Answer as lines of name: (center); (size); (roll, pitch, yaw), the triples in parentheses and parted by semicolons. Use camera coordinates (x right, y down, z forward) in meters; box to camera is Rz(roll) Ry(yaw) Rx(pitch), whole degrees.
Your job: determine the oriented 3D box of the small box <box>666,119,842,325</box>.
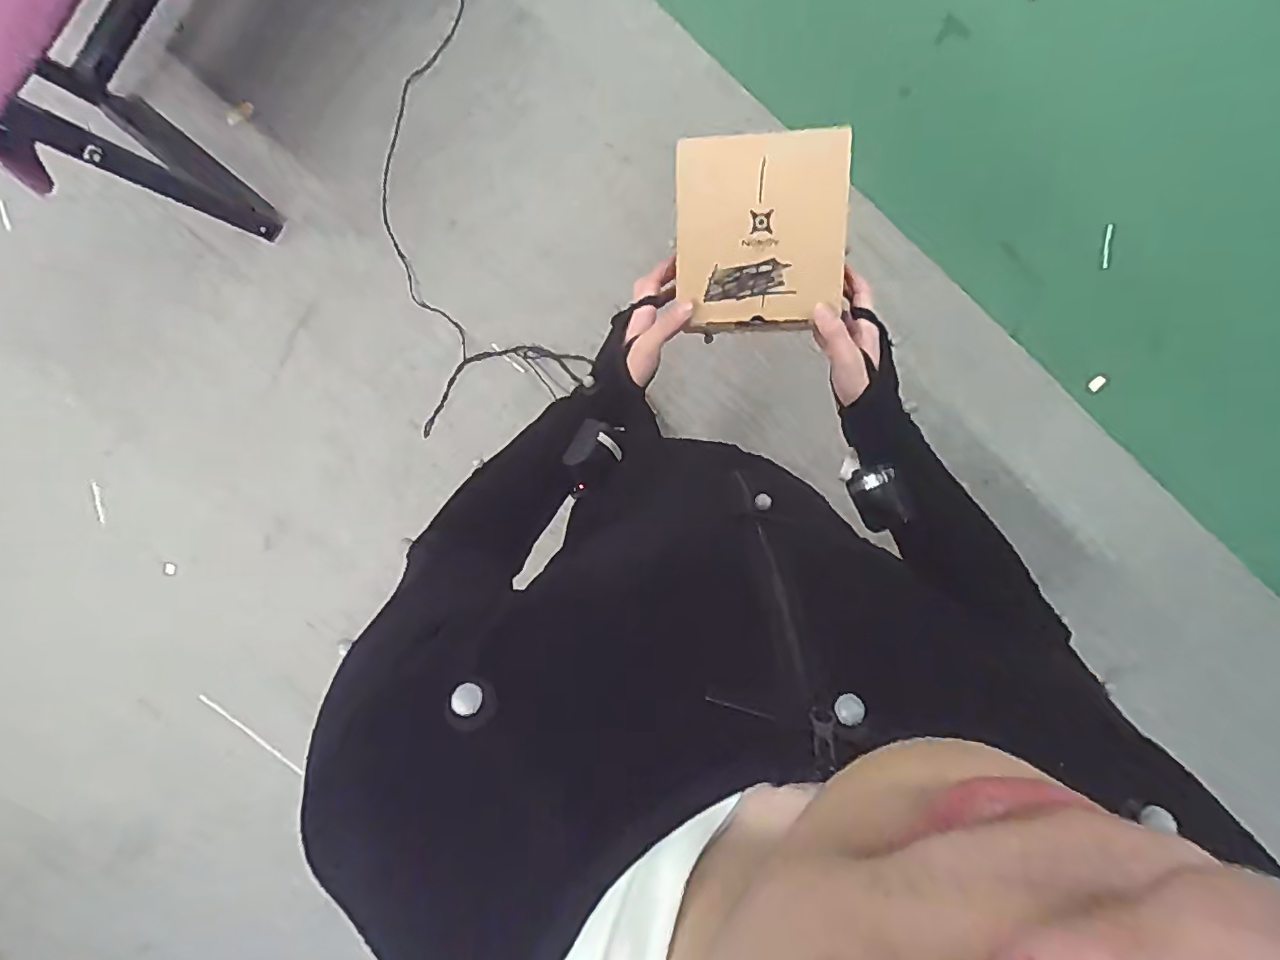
small box: (0.118, -0.267, 0.603); (0.168, 0.176, 0.179); (0, 102, 7)
